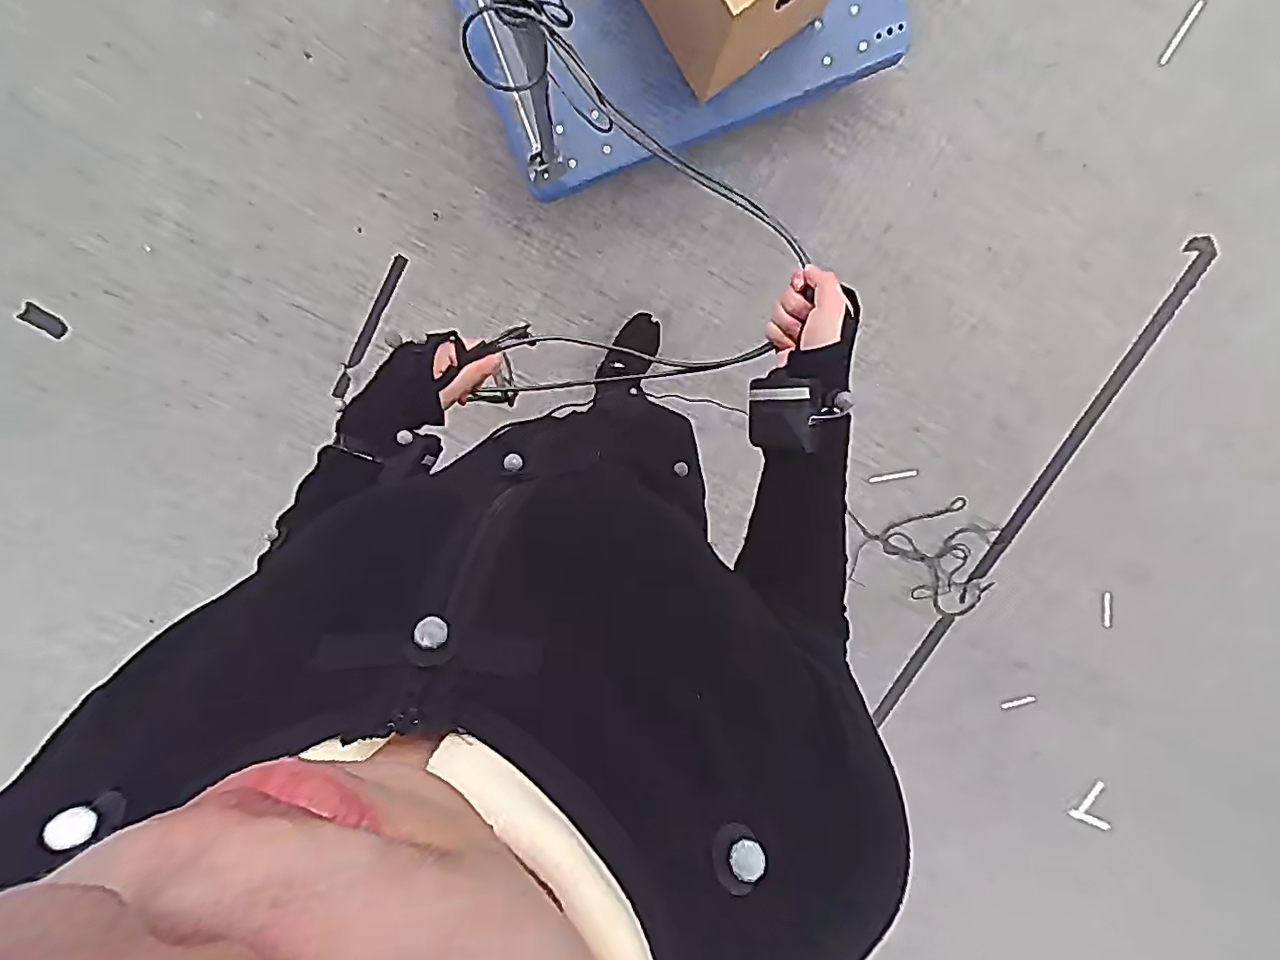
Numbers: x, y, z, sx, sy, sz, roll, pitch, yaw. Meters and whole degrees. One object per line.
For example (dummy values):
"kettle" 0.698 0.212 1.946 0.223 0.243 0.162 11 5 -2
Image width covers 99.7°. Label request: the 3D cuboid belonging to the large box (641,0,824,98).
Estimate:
"large box" 0.145 -1.004 0.936 0.320 0.320 0.408 -36 103 6
